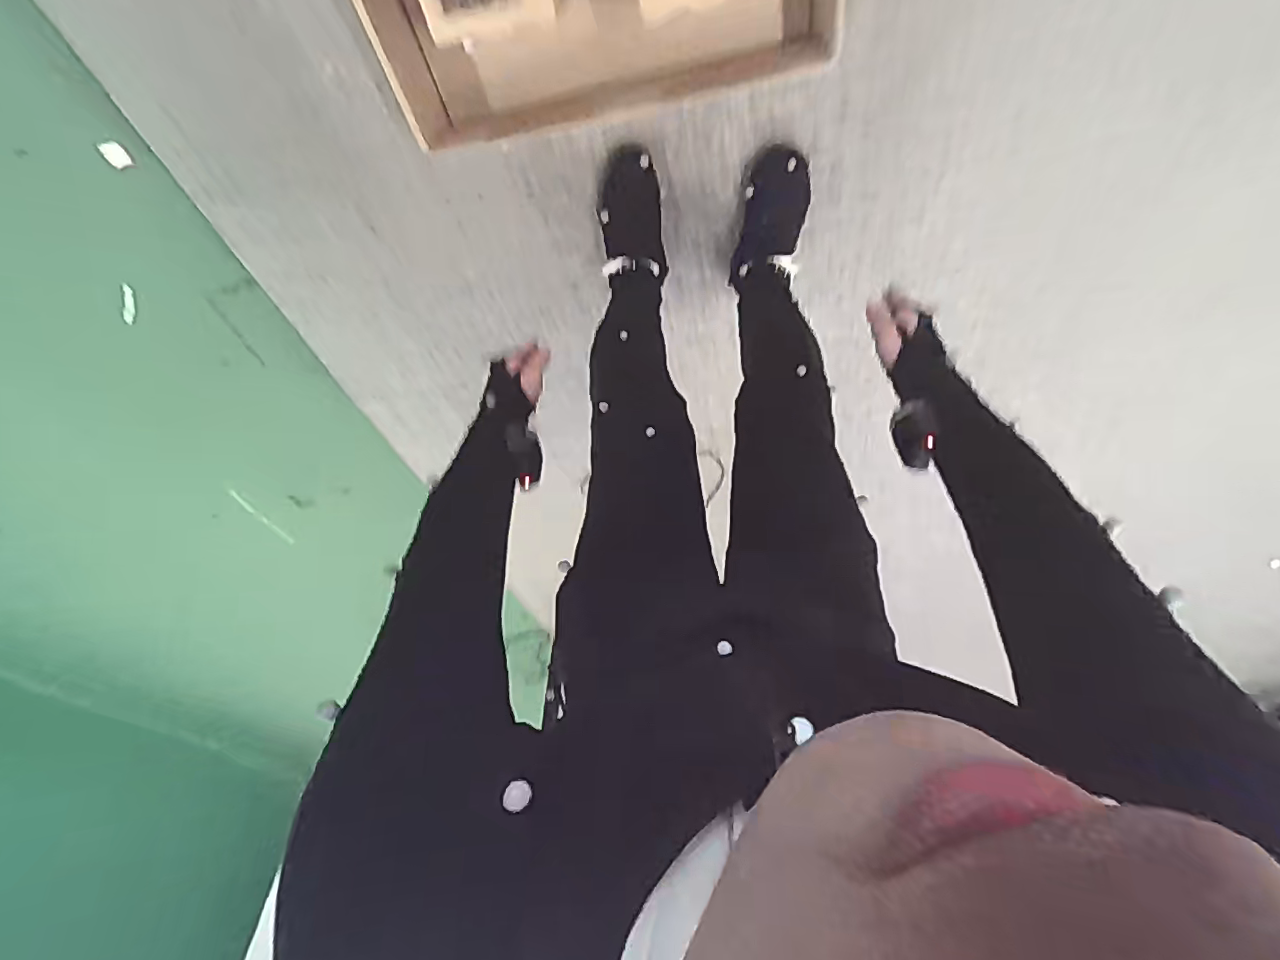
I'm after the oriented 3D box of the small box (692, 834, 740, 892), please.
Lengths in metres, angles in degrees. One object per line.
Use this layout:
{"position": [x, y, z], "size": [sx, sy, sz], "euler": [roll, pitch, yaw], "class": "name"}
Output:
{"position": [0.301, 1.509, 2.128], "size": [0.168, 0.176, 0.179], "euler": [-8, 137, 11], "class": "small box"}
